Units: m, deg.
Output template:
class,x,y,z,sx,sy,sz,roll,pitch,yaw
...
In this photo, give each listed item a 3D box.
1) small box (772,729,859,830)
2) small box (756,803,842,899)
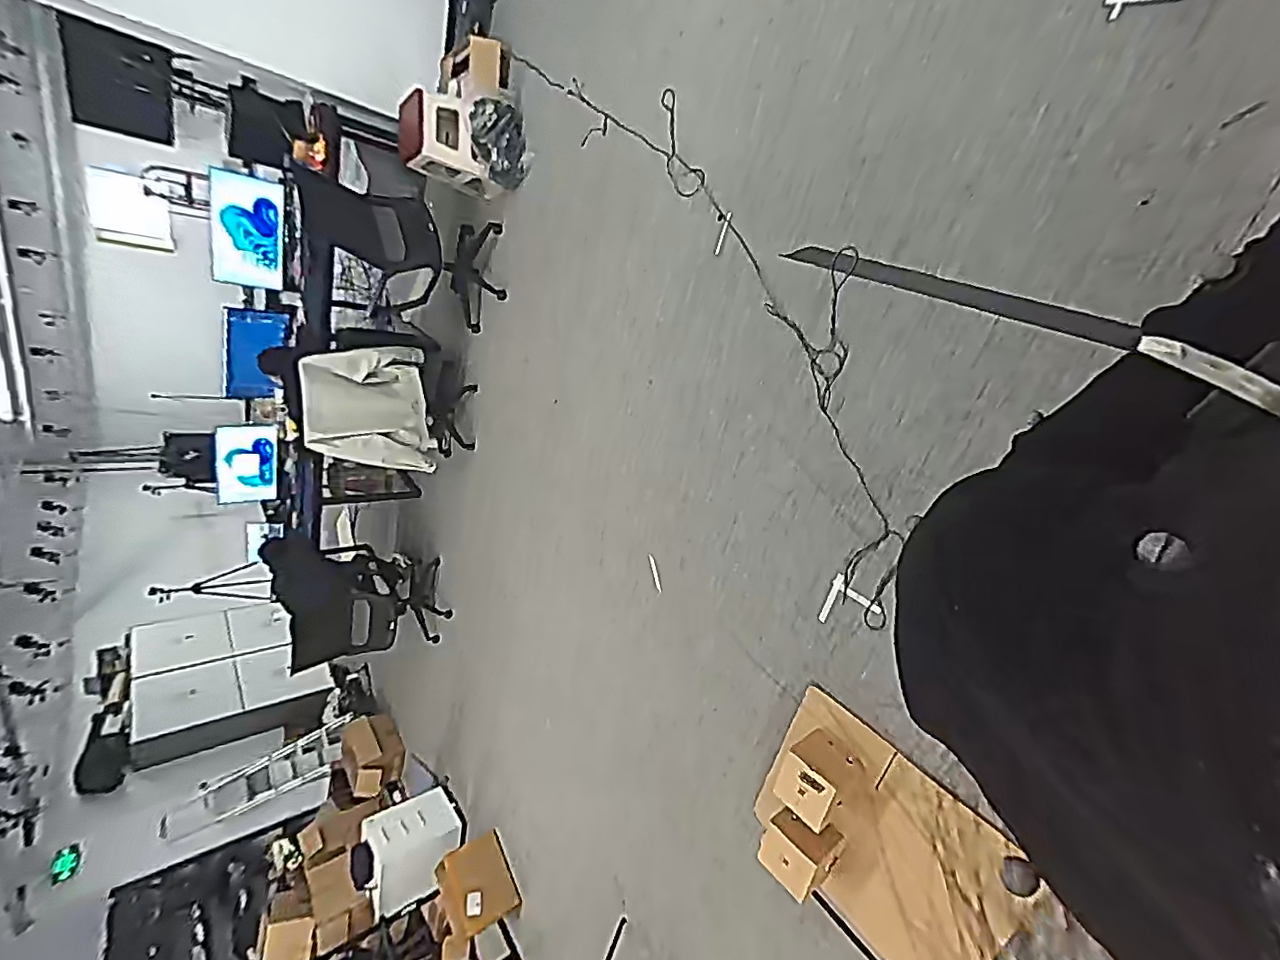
class,x,y,z,sx,sy,sz,roll,pitch,yaw
small box,0.534,0.894,1.633,0.168,0.176,0.179,30,116,42
small box,0.501,1.143,1.700,0.179,0.176,0.168,28,115,42
